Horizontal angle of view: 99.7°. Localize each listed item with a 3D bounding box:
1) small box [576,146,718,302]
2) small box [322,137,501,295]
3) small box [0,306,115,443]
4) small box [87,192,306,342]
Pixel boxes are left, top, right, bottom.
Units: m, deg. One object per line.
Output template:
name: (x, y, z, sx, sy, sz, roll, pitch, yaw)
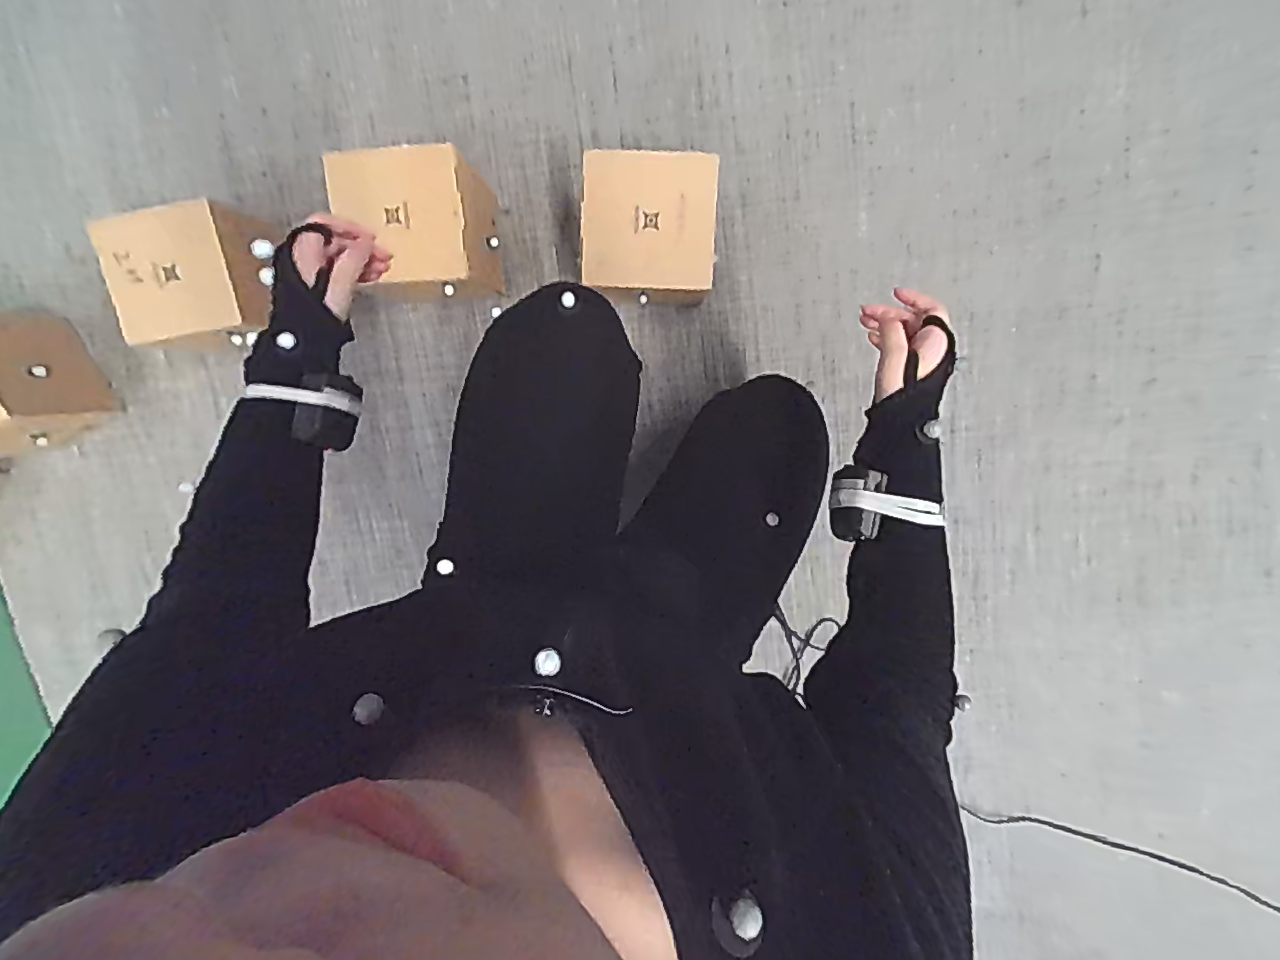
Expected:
small box: (0.010, -0.352, 0.771, 0.179, 0.176, 0.168, 3, 102, 1)
small box: (-0.316, -0.368, 0.782, 0.179, 0.176, 0.168, -3, 101, 2)
small box: (-1.005, -0.163, 0.849, 0.168, 0.176, 0.179, -24, 99, 7)
small box: (-0.635, -0.304, 0.805, 0.179, 0.176, 0.168, -9, 100, 4)
